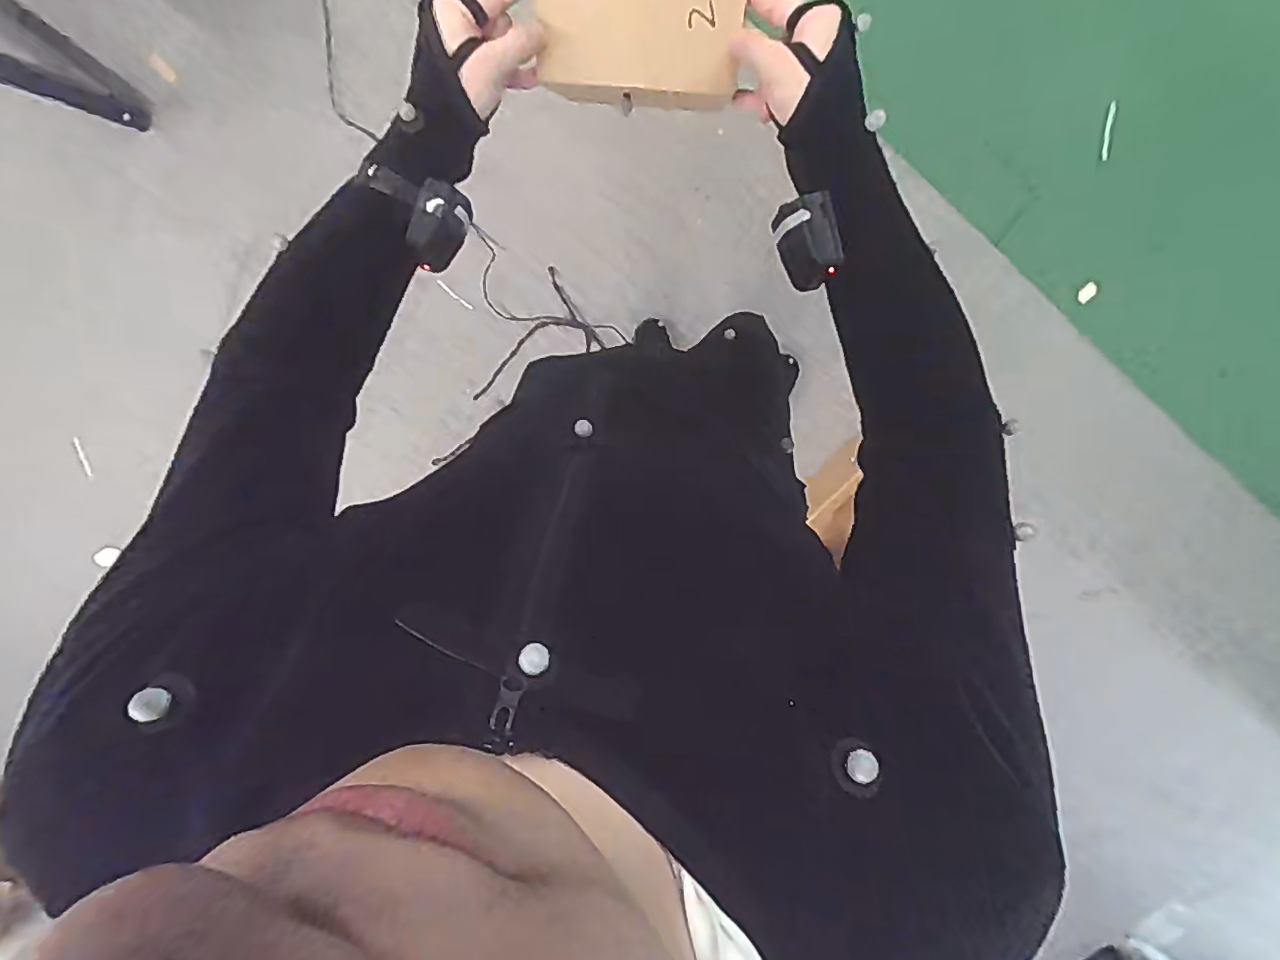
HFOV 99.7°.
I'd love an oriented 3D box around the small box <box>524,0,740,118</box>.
[{"bbox_3d":[-0.001,-0.440,0.494,0.179,0.176,0.168,5,120,0],"label":"small box"}]
